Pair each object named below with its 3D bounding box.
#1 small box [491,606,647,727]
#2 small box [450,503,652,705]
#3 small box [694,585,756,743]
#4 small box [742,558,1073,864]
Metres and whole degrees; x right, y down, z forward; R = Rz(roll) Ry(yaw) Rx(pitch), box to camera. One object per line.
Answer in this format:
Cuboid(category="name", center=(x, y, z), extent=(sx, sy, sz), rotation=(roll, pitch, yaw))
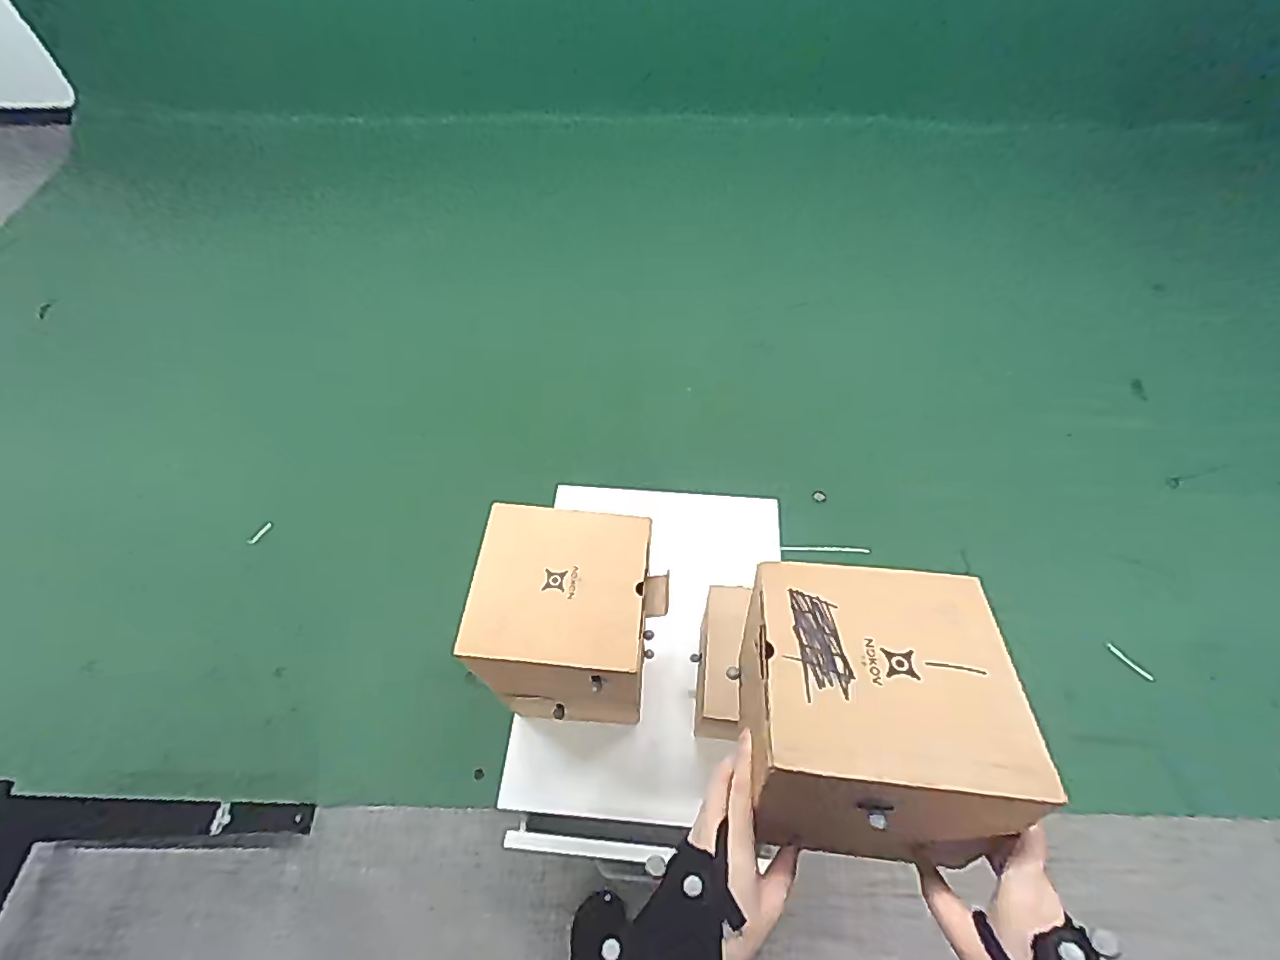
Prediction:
Cuboid(category="small box", center=(-0.082, 0.231, 0.734), extent=(0.179, 0.176, 0.168), rotation=(3, 57, 2))
Cuboid(category="small box", center=(-0.082, 0.143, 0.597), extent=(0.179, 0.176, 0.168), rotation=(5, 57, 1))
Cuboid(category="small box", center=(0.166, 0.254, 0.716), extent=(0.179, 0.176, 0.168), rotation=(6, 59, 4))
Cuboid(category="small box", center=(0.175, 0.184, 0.430), extent=(0.179, 0.176, 0.168), rotation=(5, 44, 5))
